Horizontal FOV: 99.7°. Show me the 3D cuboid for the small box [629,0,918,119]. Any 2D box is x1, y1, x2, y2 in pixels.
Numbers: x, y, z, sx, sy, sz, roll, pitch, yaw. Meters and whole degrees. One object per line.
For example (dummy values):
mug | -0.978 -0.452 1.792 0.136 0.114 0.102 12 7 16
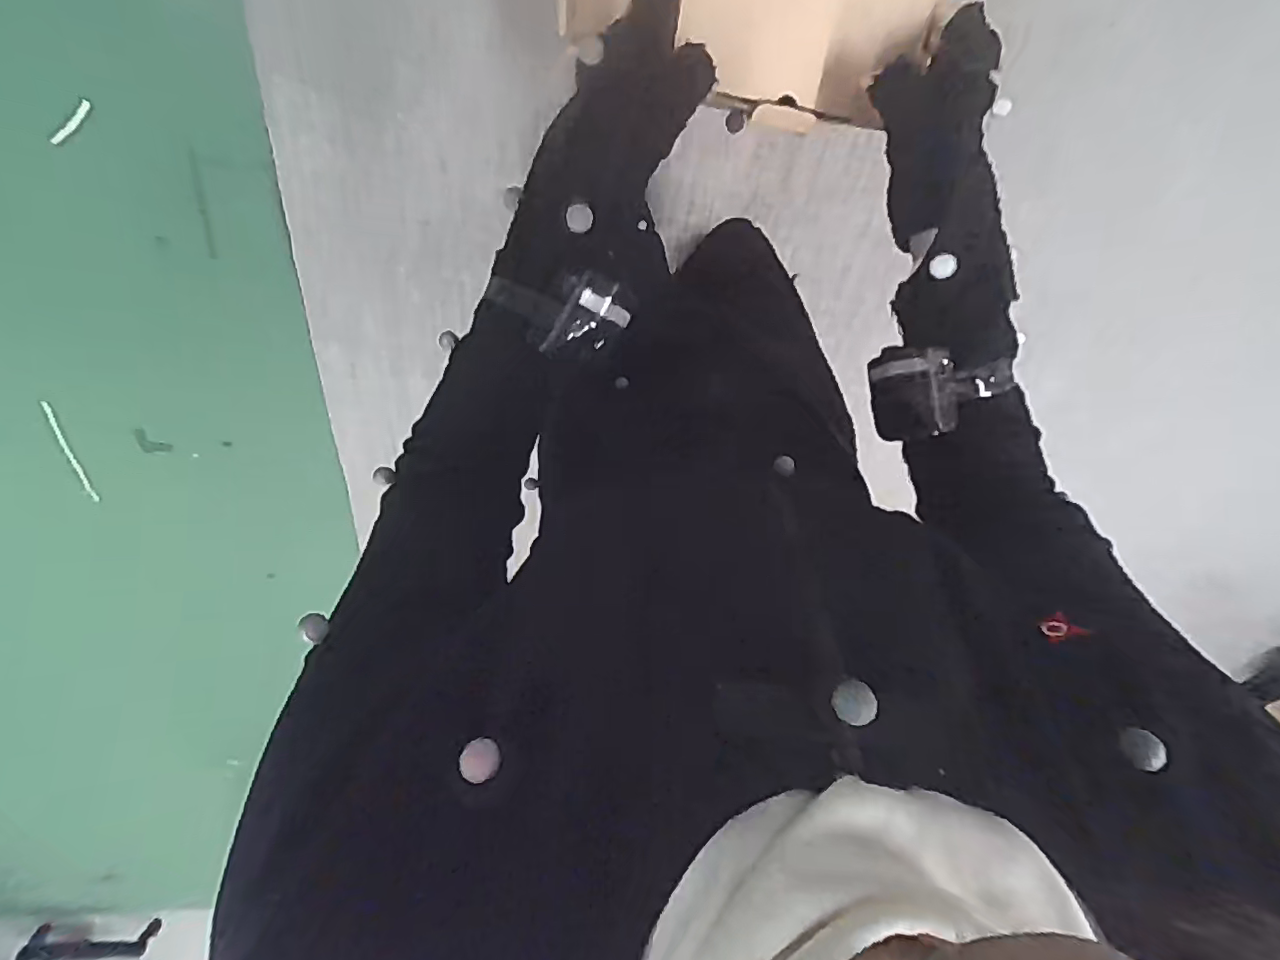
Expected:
small box | 0.091 -0.377 0.382 0.168 0.176 0.179 1 126 -13
